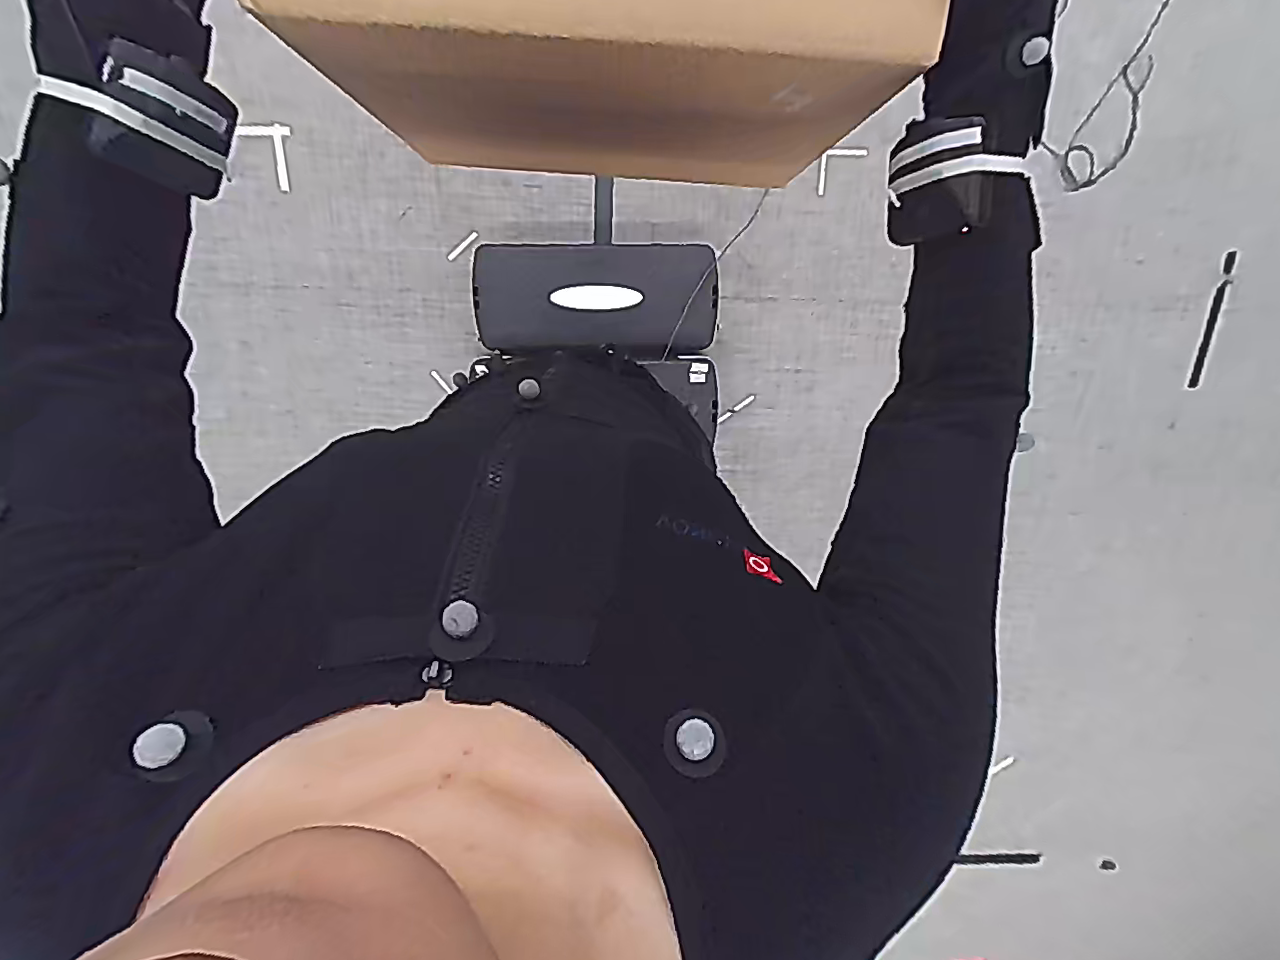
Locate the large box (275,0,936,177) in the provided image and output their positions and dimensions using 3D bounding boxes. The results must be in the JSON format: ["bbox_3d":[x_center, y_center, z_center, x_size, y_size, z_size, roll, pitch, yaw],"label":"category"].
[{"bbox_3d":[-0.021,-0.456,0.428,0.408,0.320,0.320,2,107,-4],"label":"large box"}]

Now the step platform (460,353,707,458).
[{"bbox_3d":[-0.152,-0.212,1.533,0.684,0.204,0.286,-1,103,-1],"label":"step platform"}]
